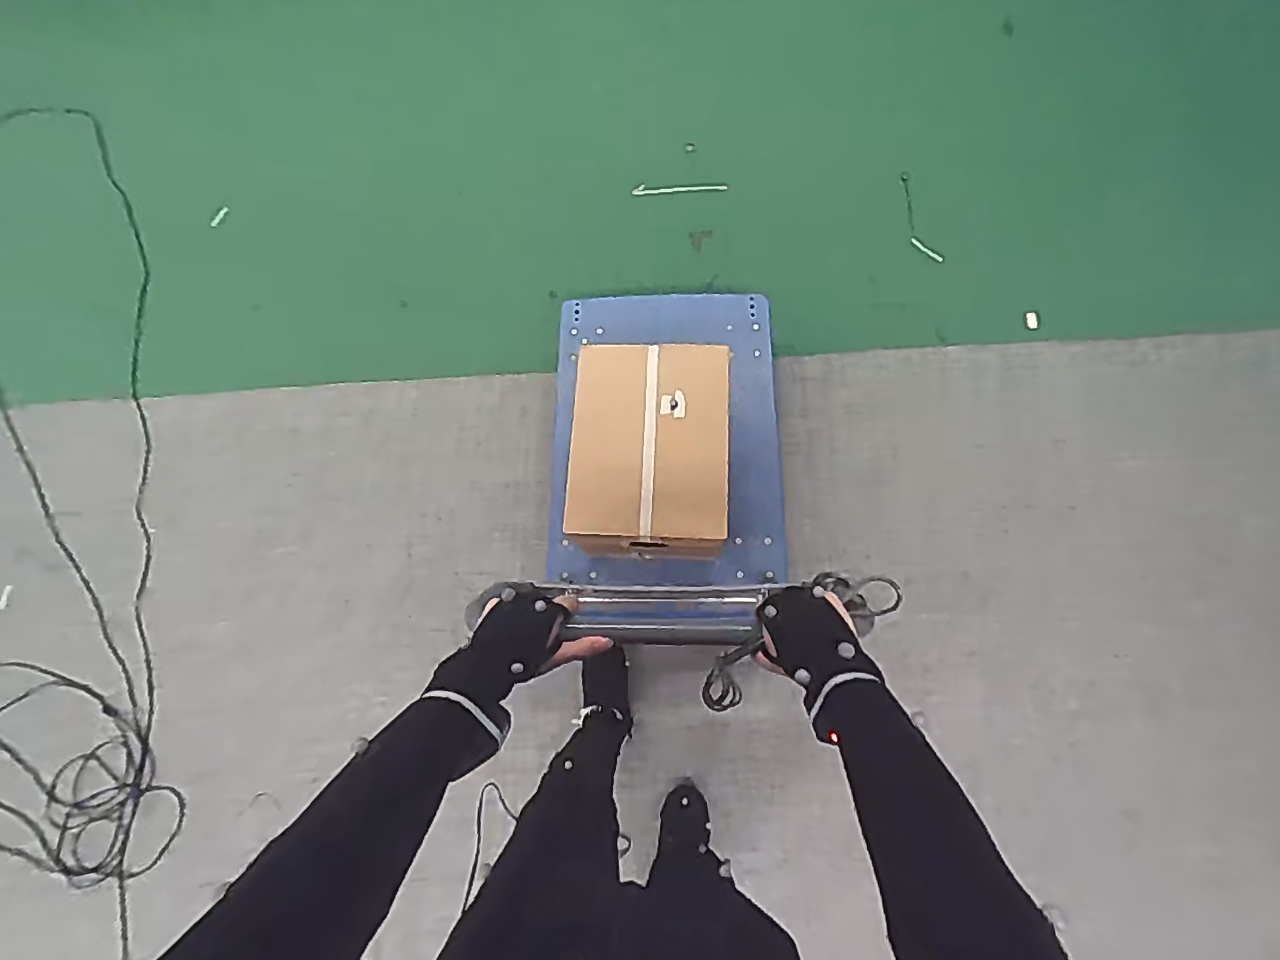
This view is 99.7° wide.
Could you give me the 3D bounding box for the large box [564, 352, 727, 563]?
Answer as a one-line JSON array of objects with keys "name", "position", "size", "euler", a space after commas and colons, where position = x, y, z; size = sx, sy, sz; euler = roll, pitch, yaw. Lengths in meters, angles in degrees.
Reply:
[{"name": "large box", "position": [0.026, -0.032, 1.213], "size": [0.320, 0.320, 0.408], "euler": [2, 74, 4]}]
